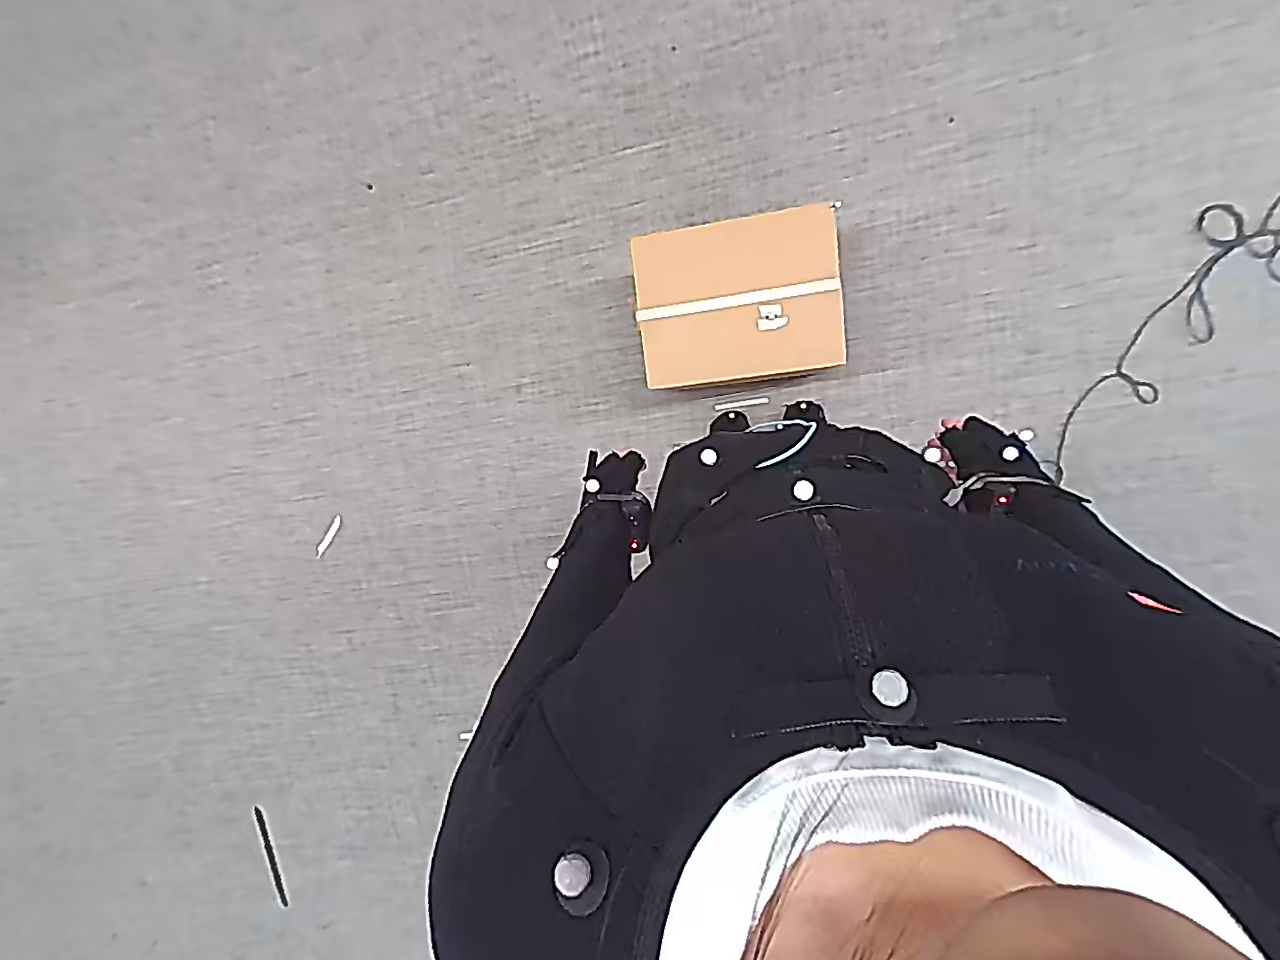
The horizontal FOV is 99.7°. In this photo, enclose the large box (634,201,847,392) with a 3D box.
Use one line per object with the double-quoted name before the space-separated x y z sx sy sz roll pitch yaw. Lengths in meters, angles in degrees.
"large box" 0.223 -0.387 1.240 0.408 0.320 0.320 -6 98 10
